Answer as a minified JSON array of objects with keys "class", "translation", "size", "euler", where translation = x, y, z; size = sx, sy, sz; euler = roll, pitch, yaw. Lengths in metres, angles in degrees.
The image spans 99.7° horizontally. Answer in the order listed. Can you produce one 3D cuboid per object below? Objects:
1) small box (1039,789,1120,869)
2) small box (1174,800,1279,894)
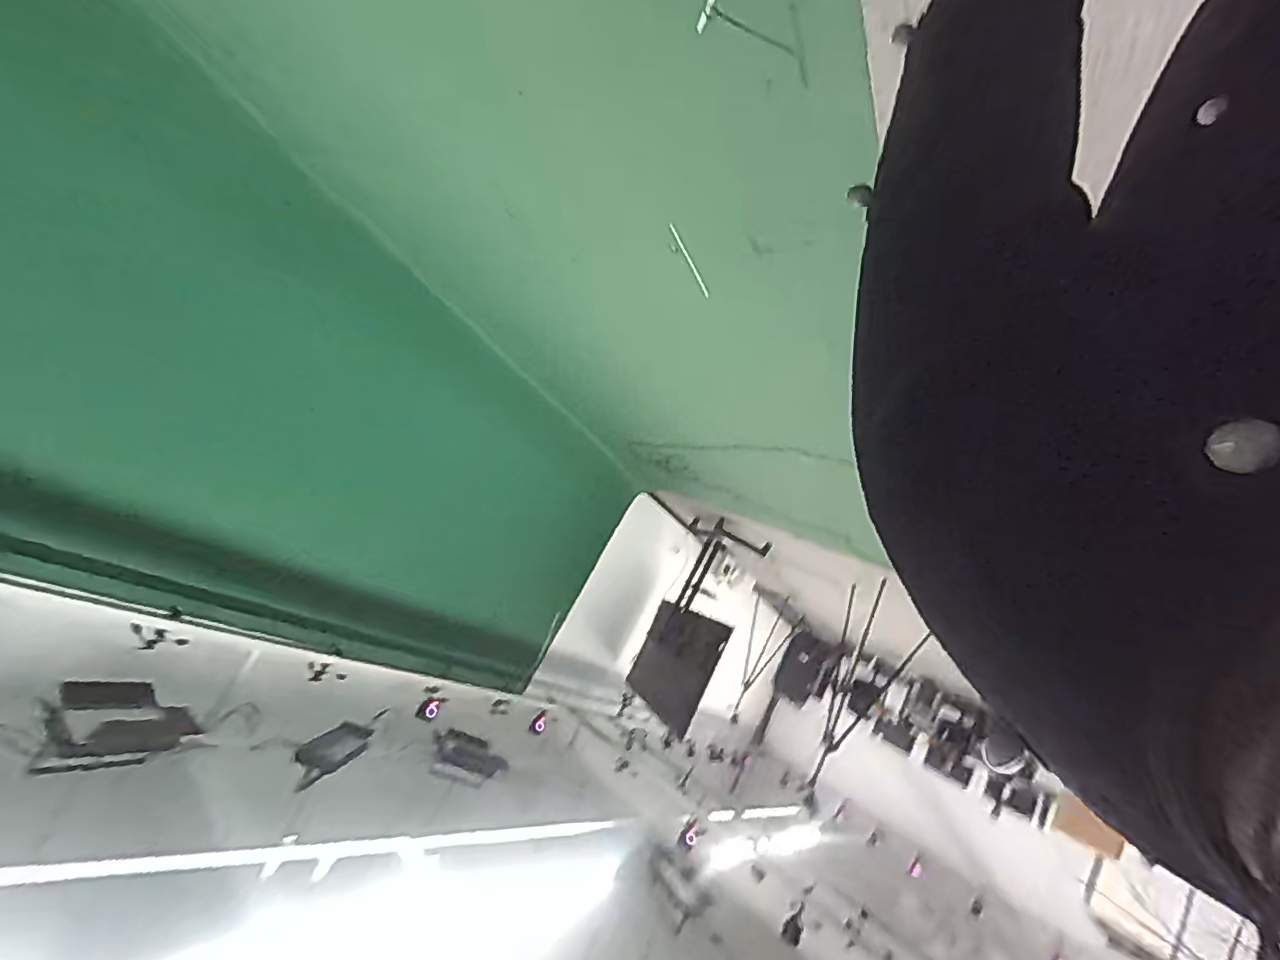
[{"class":"small box","translation":[1.496,1.179,1.844],"size":[0.168,0.176,0.179],"euler":[19,163,35]},{"class":"small box","translation":[1.833,1.135,1.687],"size":[0.179,0.176,0.168],"euler":[20,165,35]}]
